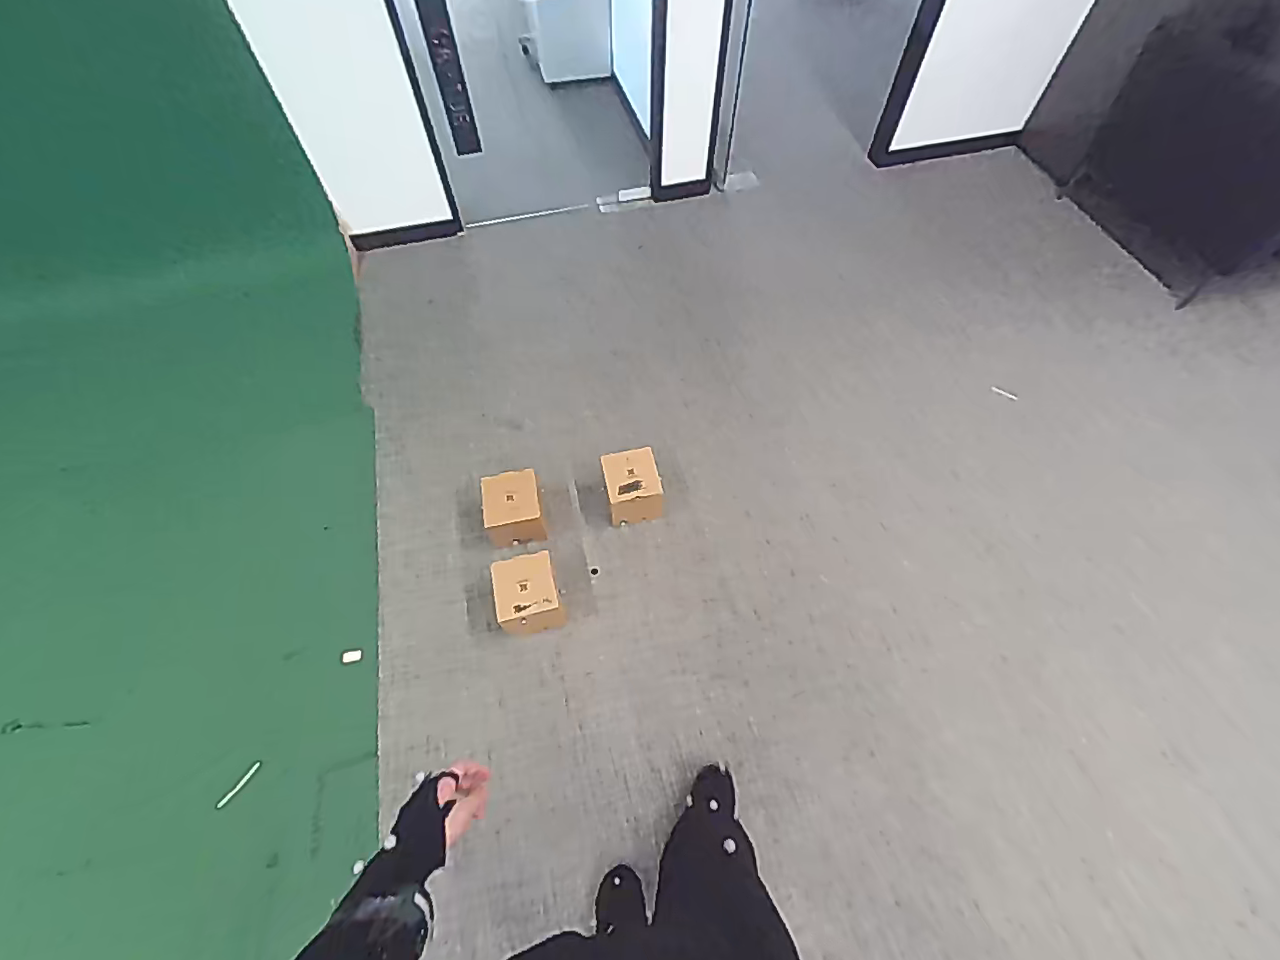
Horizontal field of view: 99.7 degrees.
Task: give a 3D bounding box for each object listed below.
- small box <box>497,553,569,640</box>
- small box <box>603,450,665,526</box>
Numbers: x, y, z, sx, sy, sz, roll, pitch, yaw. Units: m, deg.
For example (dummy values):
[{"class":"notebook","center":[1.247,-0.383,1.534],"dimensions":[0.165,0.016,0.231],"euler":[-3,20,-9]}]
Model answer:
[{"class":"small box","center":[-0.304,0.337,1.548],"dimensions":[0.168,0.176,0.179],"euler":[-13,59,-6]},{"class":"small box","center":[-0.017,0.032,1.726],"dimensions":[0.168,0.176,0.179],"euler":[-11,59,-6]}]
